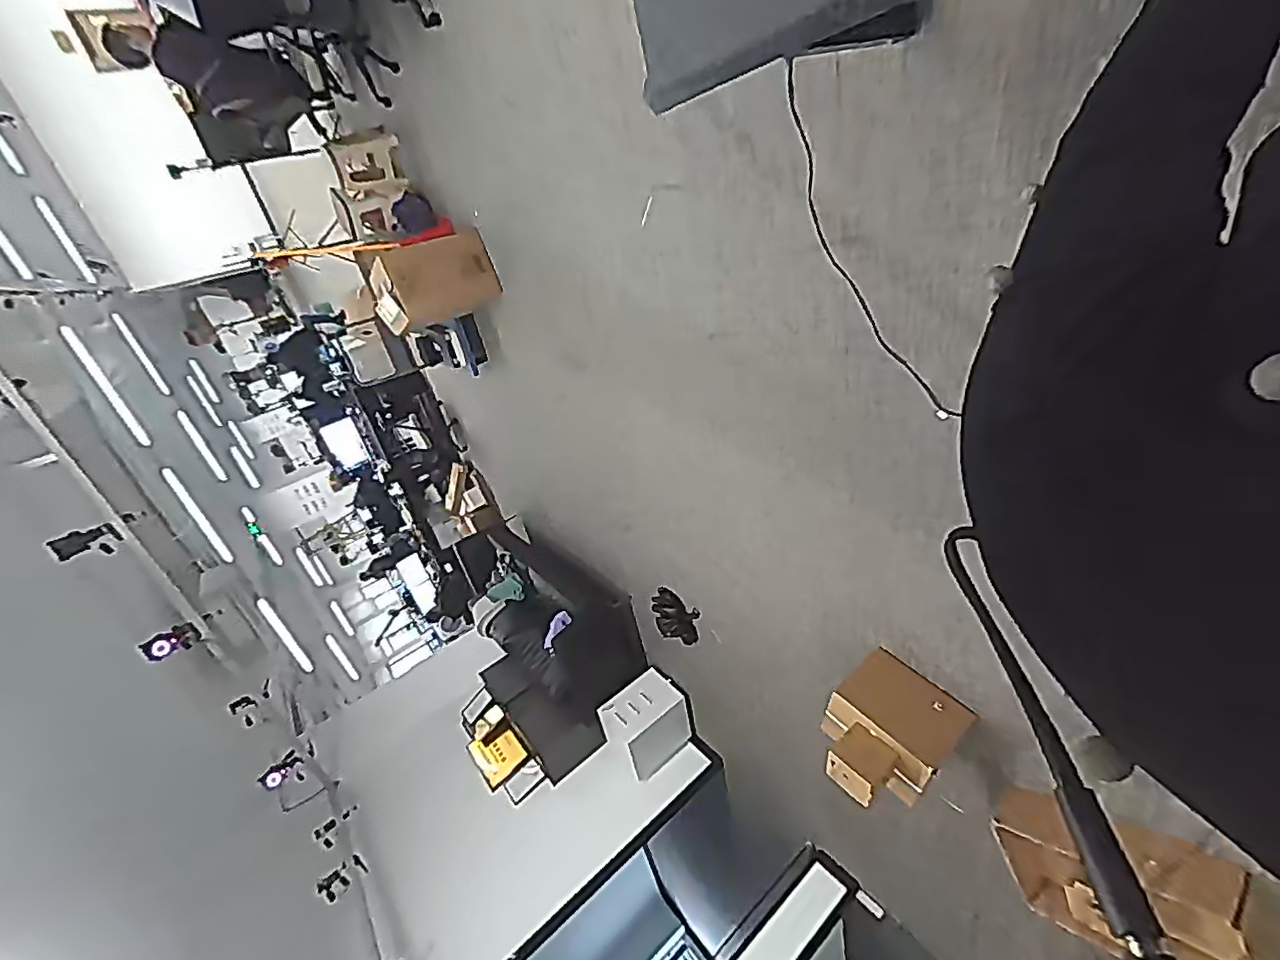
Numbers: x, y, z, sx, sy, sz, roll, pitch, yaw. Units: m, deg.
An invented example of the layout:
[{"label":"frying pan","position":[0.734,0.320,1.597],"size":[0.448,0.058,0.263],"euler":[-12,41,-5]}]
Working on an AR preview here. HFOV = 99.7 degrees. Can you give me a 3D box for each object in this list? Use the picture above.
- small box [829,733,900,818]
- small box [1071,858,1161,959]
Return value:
[{"label":"small box","position":[0.821,1.074,1.977],"size":[0.179,0.176,0.168],"euler":[30,139,44]},{"label":"small box","position":[1.487,1.340,1.687],"size":[0.168,0.176,0.179],"euler":[0,118,58]}]
